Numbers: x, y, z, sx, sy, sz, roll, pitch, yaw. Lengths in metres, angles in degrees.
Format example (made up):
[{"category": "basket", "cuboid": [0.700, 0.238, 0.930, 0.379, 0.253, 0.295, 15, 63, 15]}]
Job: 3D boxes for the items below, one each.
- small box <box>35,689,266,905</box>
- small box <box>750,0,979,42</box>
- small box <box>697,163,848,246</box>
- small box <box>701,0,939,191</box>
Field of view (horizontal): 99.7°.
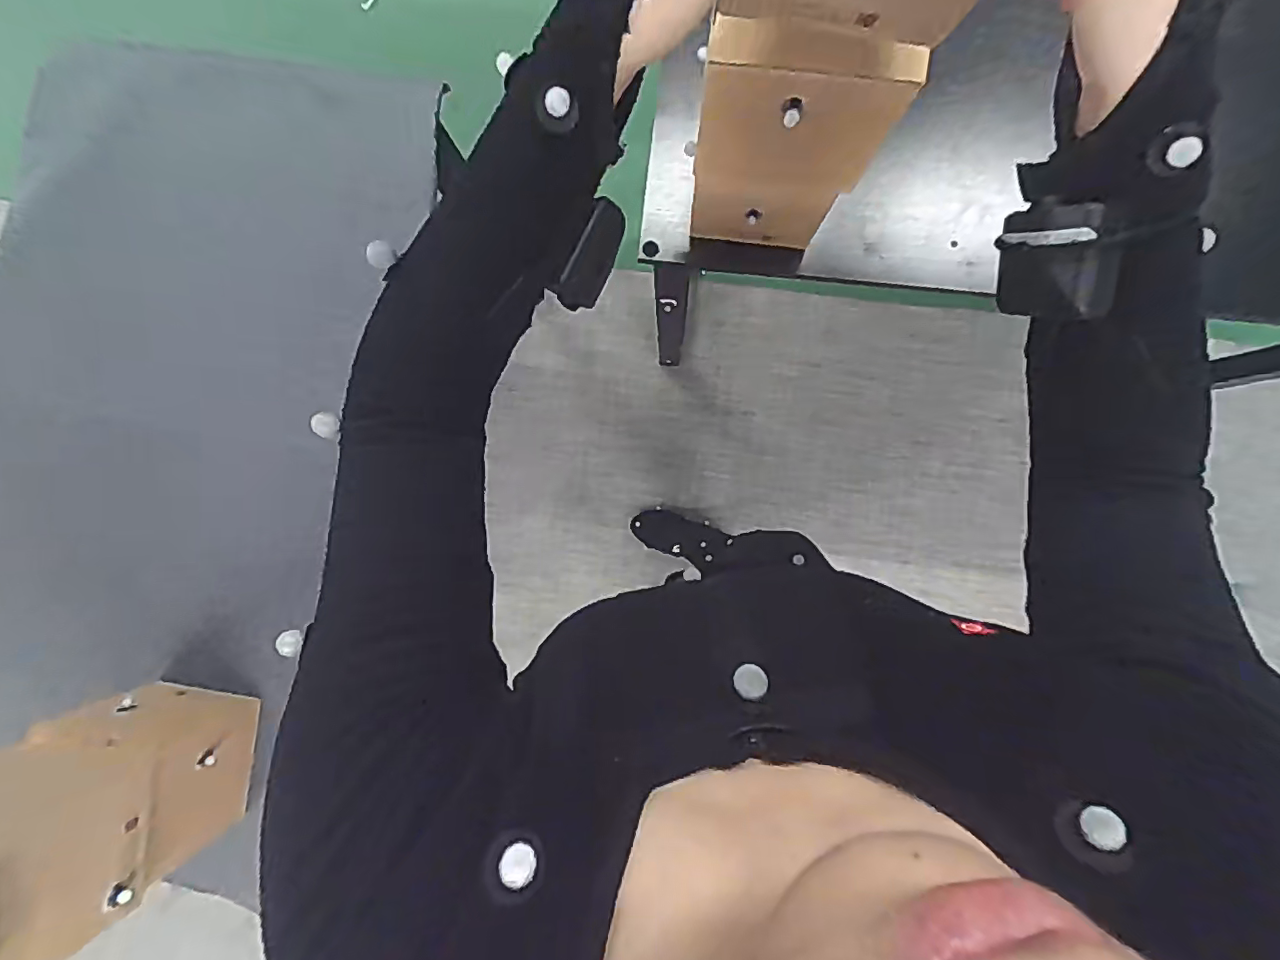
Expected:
[{"category": "small box", "cuboid": [-0.633, 0.396, 0.710, 0.168, 0.176, 0.179, 7, 90, 6]}, {"category": "small box", "cuboid": [0.150, -0.387, 0.295, 0.168, 0.176, 0.179, 8, 103, 0]}, {"category": "small box", "cuboid": [0.164, -0.413, 0.669, 0.168, 0.176, 0.179, 7, 90, 2]}, {"category": "small box", "cuboid": [0.158, -0.398, 0.507, 0.179, 0.176, 0.168, 8, 90, 3]}]
